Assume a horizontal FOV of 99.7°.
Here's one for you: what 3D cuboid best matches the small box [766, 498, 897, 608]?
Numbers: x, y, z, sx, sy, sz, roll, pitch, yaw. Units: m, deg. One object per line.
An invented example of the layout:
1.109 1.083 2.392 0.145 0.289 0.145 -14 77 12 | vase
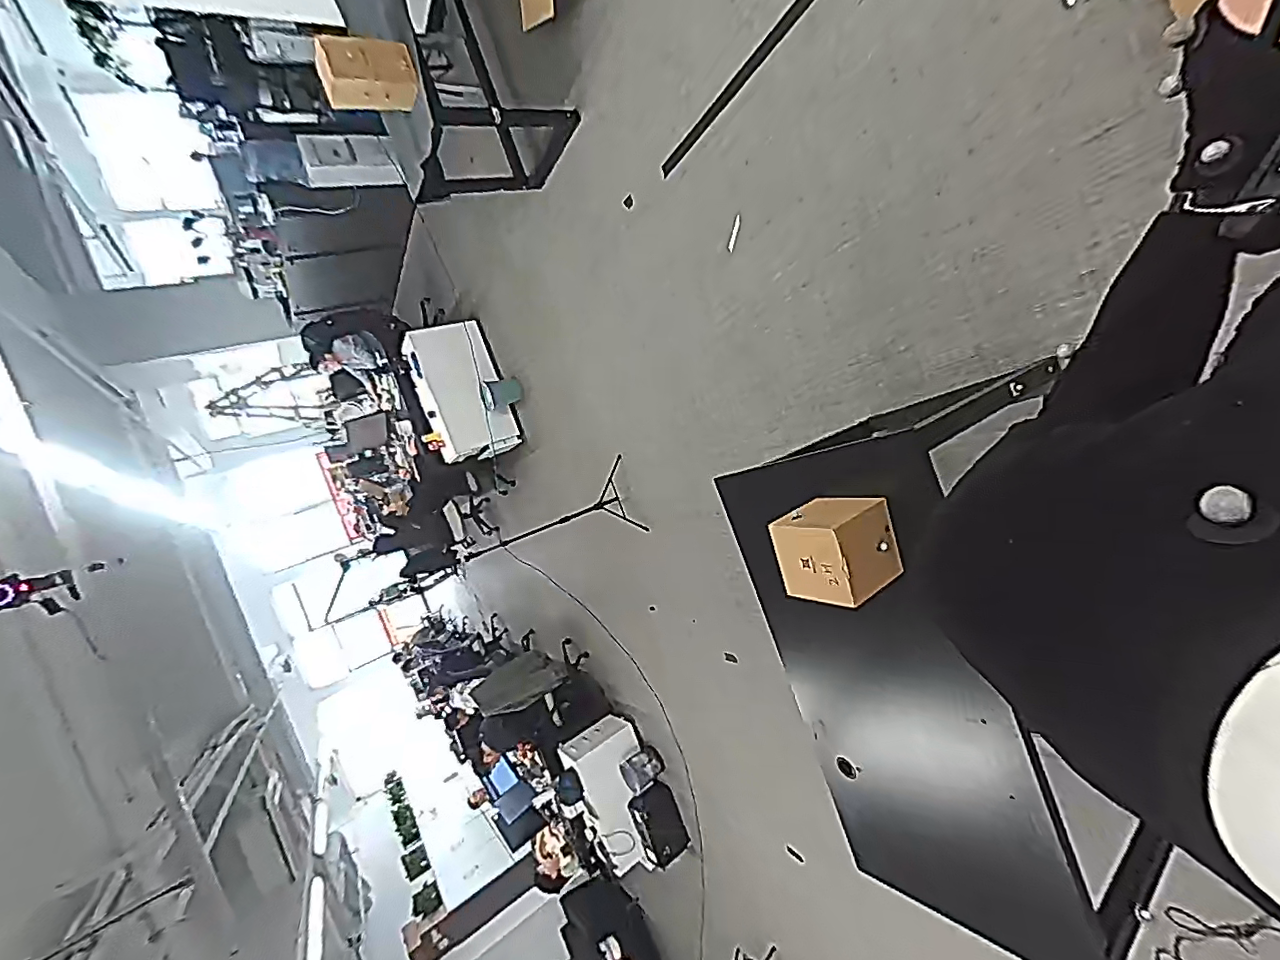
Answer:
0.397 0.142 1.124 0.179 0.176 0.168 -3 107 58 | small box
